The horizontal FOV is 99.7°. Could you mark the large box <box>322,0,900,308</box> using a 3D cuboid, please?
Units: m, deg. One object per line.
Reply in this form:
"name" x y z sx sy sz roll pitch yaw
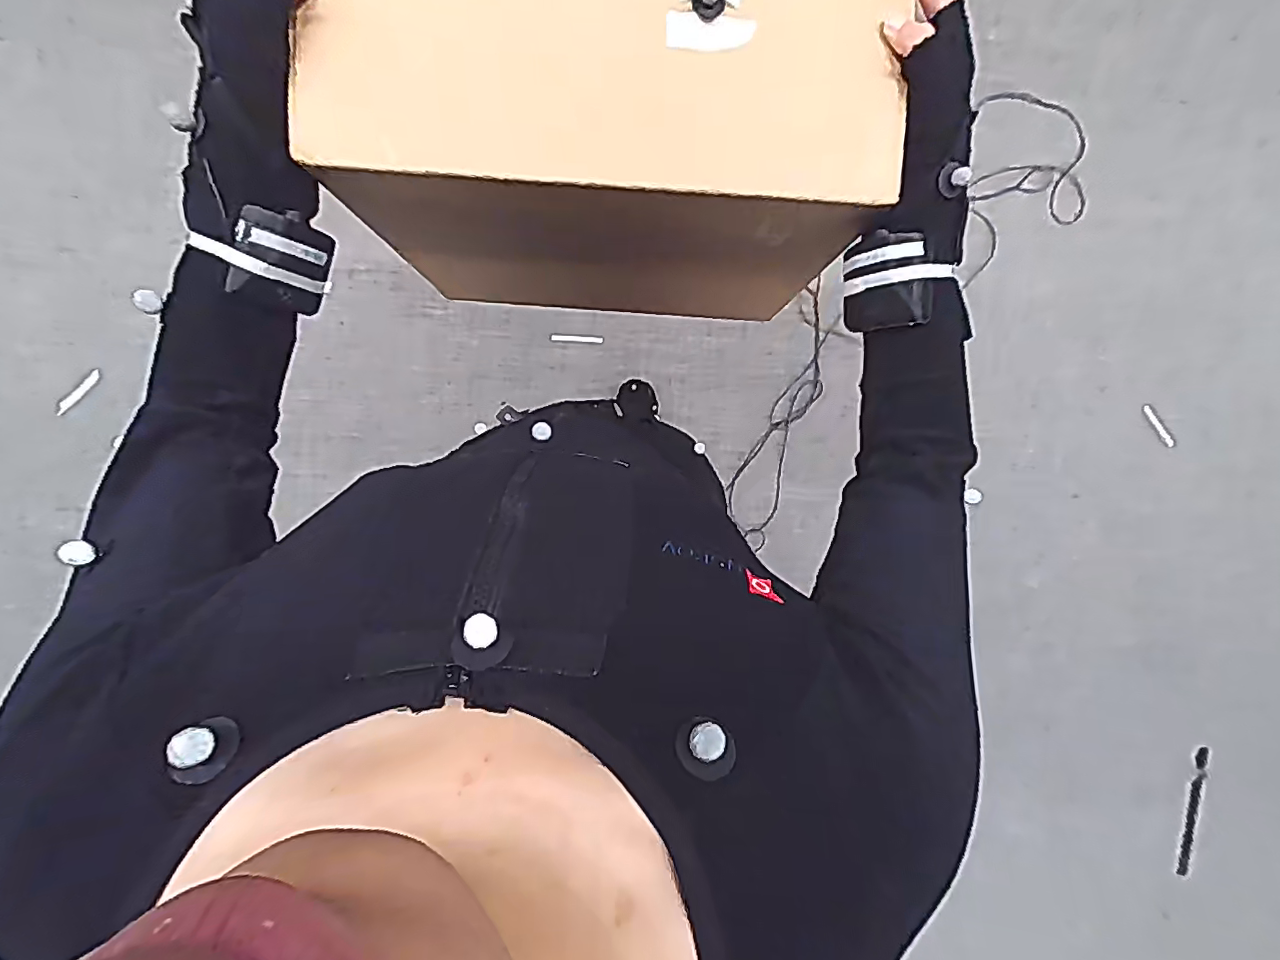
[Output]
"large box" -0.021 -0.368 0.520 0.408 0.320 0.320 3 92 -2
